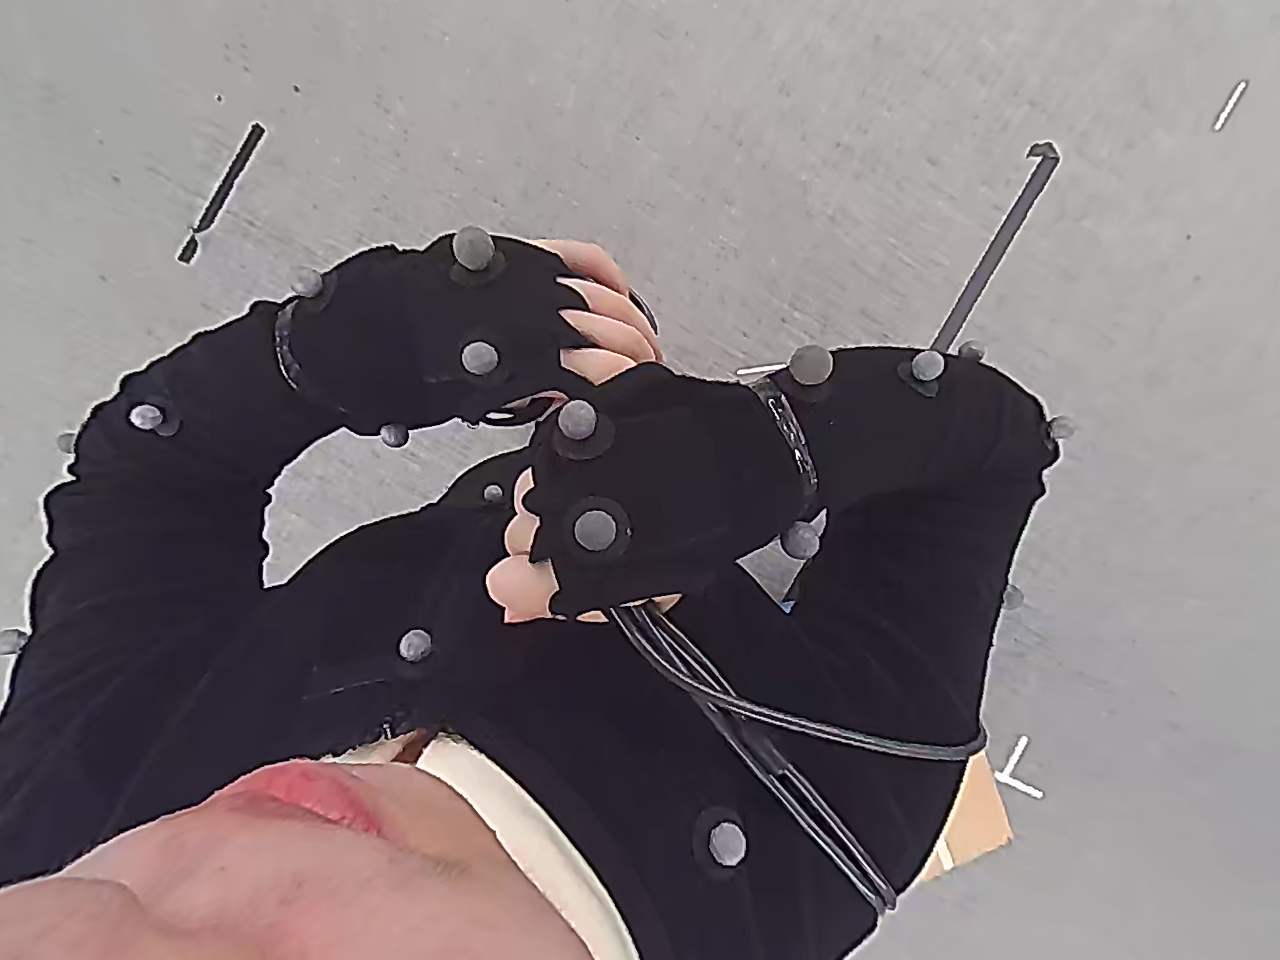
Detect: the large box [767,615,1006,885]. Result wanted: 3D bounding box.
[{"bbox_3d":[0.542,0.591,1.252,0.320,0.320,0.408,-21,96,-2],"label":"large box"}]
